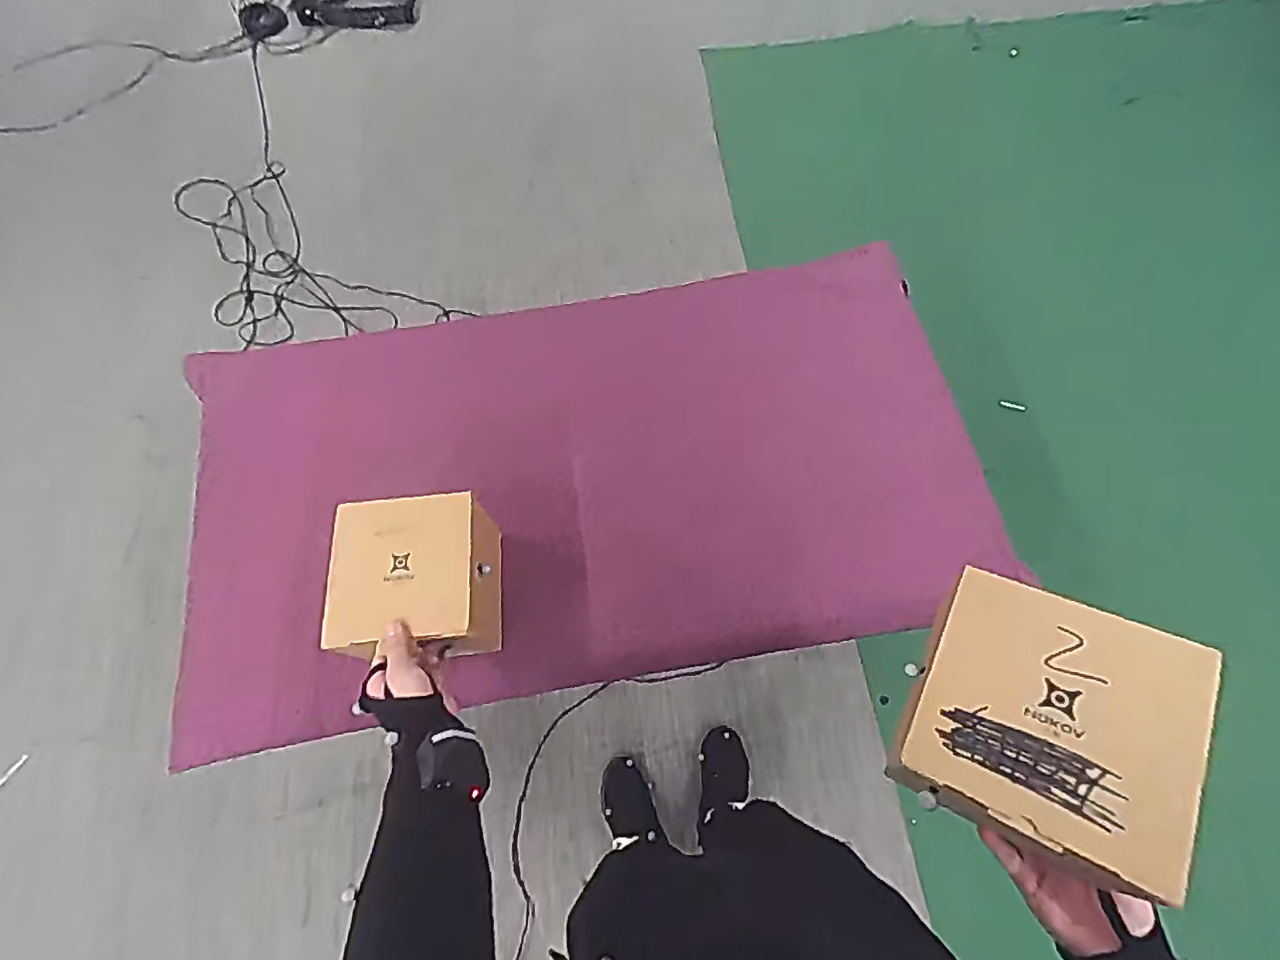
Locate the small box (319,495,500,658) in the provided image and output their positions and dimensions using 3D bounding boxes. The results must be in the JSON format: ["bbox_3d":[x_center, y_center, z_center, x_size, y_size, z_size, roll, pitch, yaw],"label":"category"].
[{"bbox_3d":[-0.286,0.135,0.712,0.168,0.176,0.179,-5,65,-3],"label":"small box"}]
